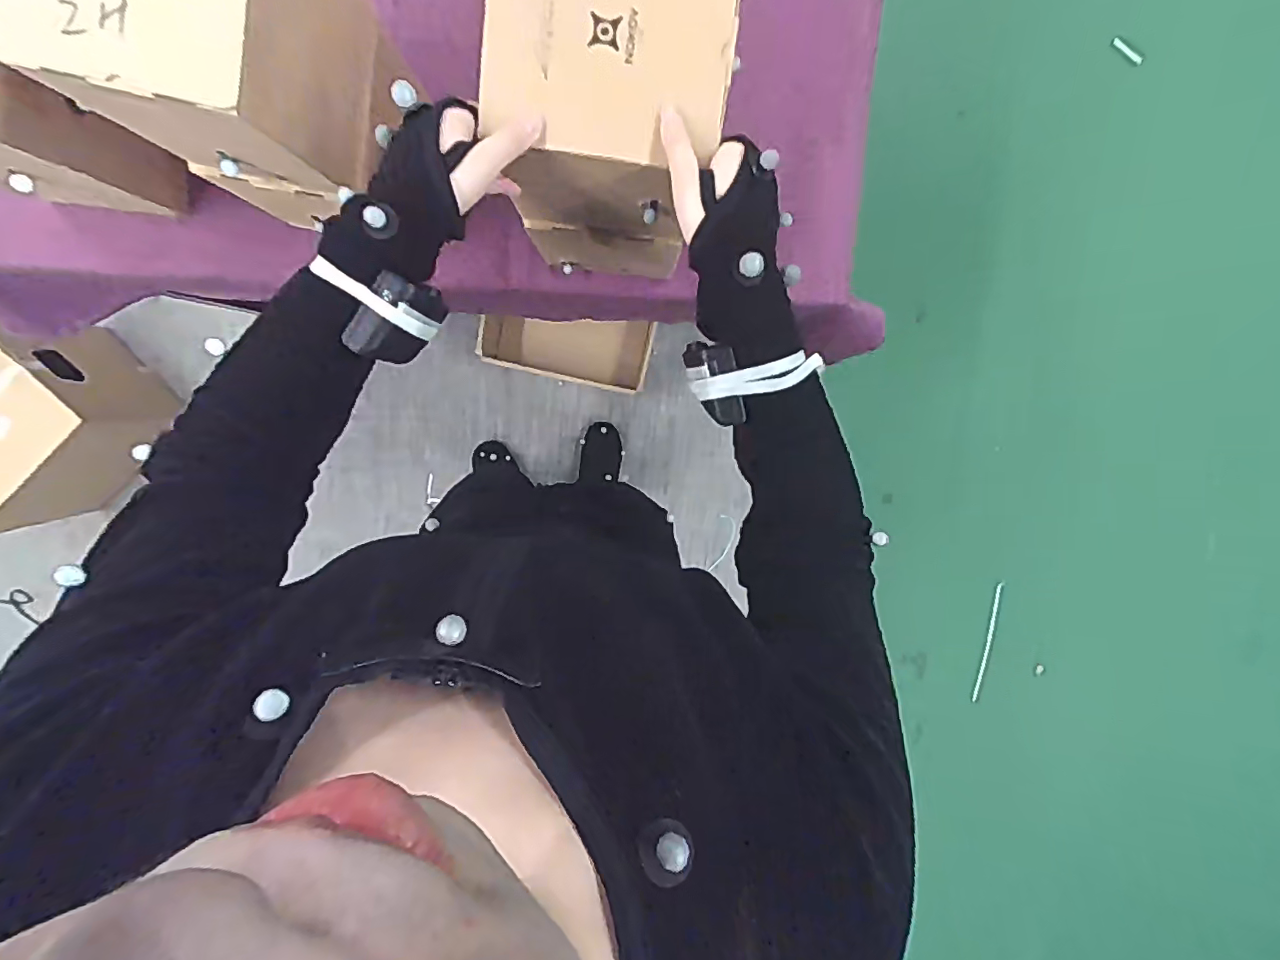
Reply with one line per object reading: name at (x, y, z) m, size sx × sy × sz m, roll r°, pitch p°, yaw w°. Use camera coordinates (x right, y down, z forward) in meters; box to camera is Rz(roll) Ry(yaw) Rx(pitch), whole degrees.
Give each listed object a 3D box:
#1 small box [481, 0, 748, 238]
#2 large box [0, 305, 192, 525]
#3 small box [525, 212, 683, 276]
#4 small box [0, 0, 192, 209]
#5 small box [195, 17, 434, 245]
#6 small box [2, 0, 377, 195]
small box at (-0.019, -0.320, 0.457) m, size 0.179 × 0.176 × 0.168 m, roll 8°, pitch 98°, yaw -2°
large box at (-1.420, -0.148, 1.282) m, size 0.408 × 0.320 × 0.320 m, roll -41°, pitch 99°, yaw 4°
small box at (-0.028, -0.344, 0.619) m, size 0.168 × 0.176 × 0.179 m, roll 6°, pitch 98°, yaw -2°
small box at (-0.642, -0.414, 0.590) m, size 0.179 × 0.176 × 0.168 m, roll 6°, pitch 100°, yaw -2°
small box at (-0.345, -0.388, 0.605) m, size 0.168 × 0.176 × 0.179 m, roll 11°, pitch 100°, yaw -3°
small box at (-0.338, -0.368, 0.441) m, size 0.168 × 0.176 × 0.179 m, roll 12°, pitch 100°, yaw -3°
